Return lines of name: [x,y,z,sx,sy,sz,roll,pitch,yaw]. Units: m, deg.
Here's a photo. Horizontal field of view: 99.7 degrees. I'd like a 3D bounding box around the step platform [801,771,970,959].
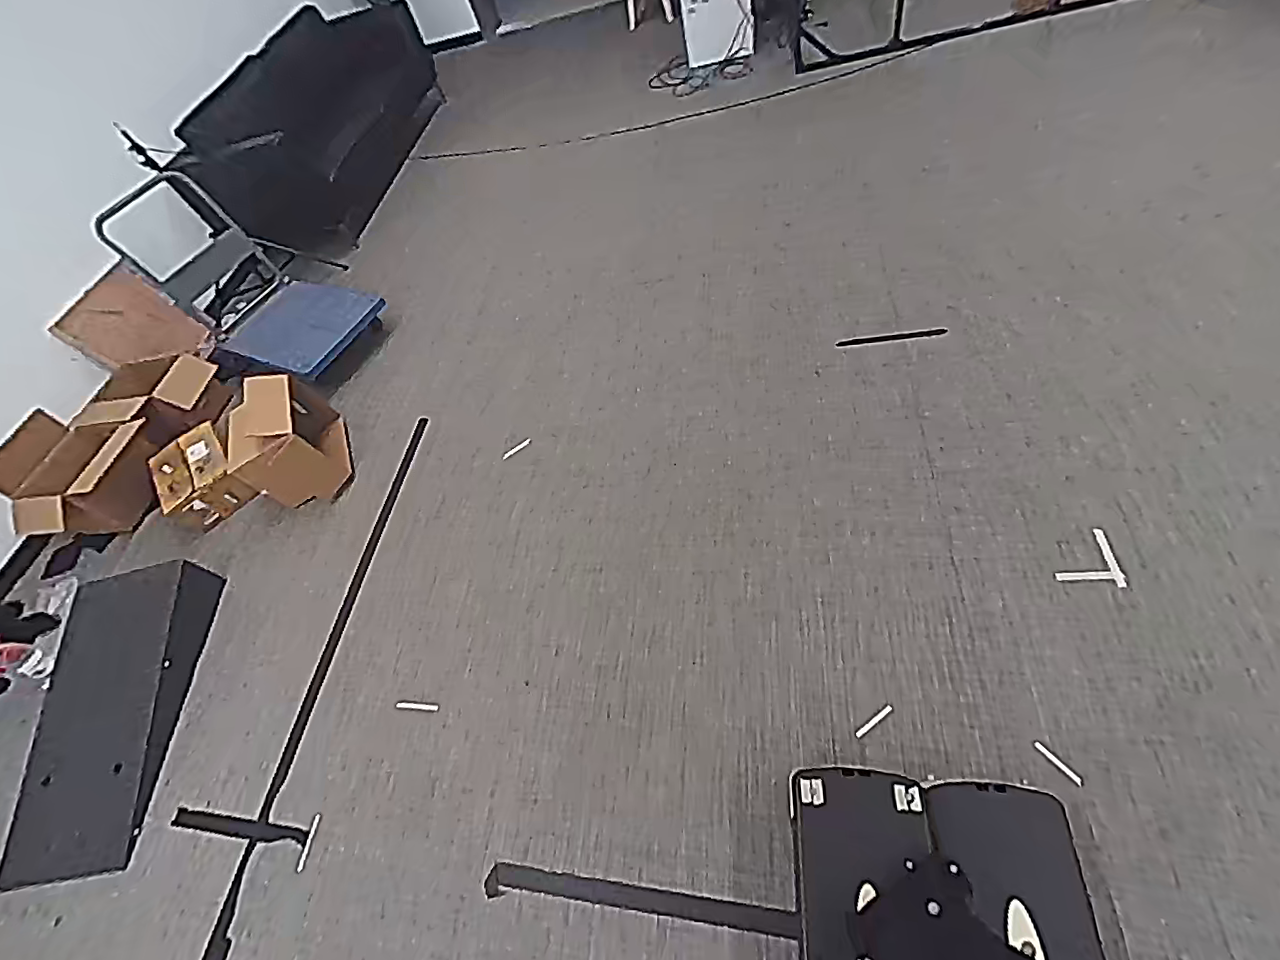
step platform: [0.494,0.970,1.083,0.286,0.204,0.684,-4,55,14]
